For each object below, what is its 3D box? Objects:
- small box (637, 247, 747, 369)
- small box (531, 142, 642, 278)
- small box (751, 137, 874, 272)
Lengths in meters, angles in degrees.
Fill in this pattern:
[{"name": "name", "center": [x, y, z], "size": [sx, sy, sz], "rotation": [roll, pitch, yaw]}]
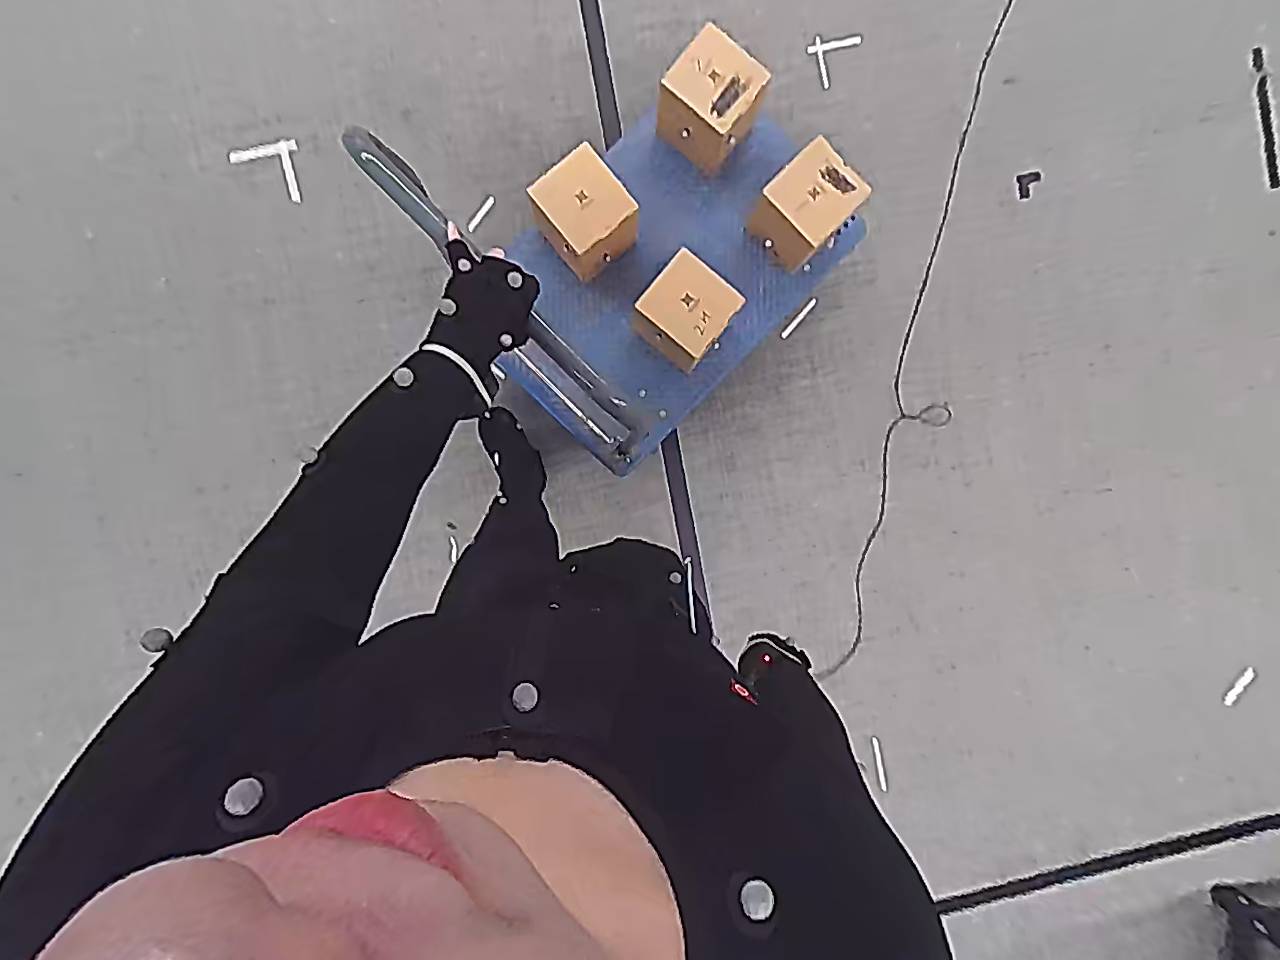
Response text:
[{"name": "small box", "center": [0.106, -0.372, 1.208], "size": [0.179, 0.176, 0.168], "rotation": [40, 89, -2]}, {"name": "small box", "center": [-0.115, -0.586, 1.198], "size": [0.168, 0.176, 0.179], "rotation": [-40, 93, -2]}, {"name": "small box", "center": [0.376, -0.608, 1.215], "size": [0.179, 0.176, 0.168], "rotation": [-44, 92, 0]}]
